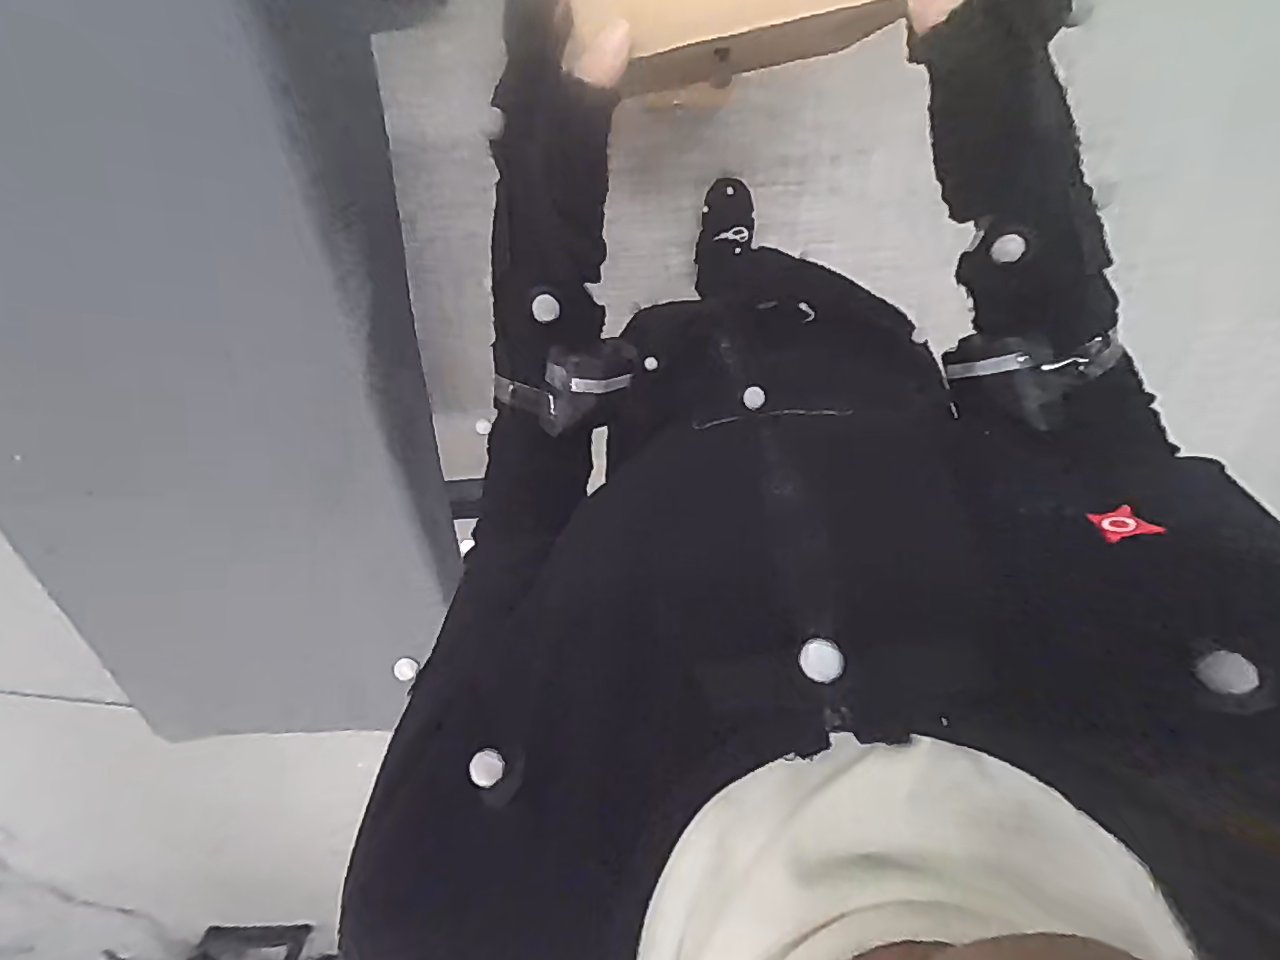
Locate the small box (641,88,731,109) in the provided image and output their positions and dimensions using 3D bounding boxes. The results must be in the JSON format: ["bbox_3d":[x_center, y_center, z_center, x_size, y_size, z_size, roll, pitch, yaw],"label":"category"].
[{"bbox_3d":[0.084,-0.803,1.001,0.168,0.176,0.179,0,120,3],"label":"small box"}]

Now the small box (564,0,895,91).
[{"bbox_3d":[0.045,-0.318,0.274,0.179,0.176,0.168,-7,120,5],"label":"small box"}]

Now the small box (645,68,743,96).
[{"bbox_3d":[0.079,-0.727,0.854,0.168,0.176,0.179,2,120,3],"label":"small box"}]
